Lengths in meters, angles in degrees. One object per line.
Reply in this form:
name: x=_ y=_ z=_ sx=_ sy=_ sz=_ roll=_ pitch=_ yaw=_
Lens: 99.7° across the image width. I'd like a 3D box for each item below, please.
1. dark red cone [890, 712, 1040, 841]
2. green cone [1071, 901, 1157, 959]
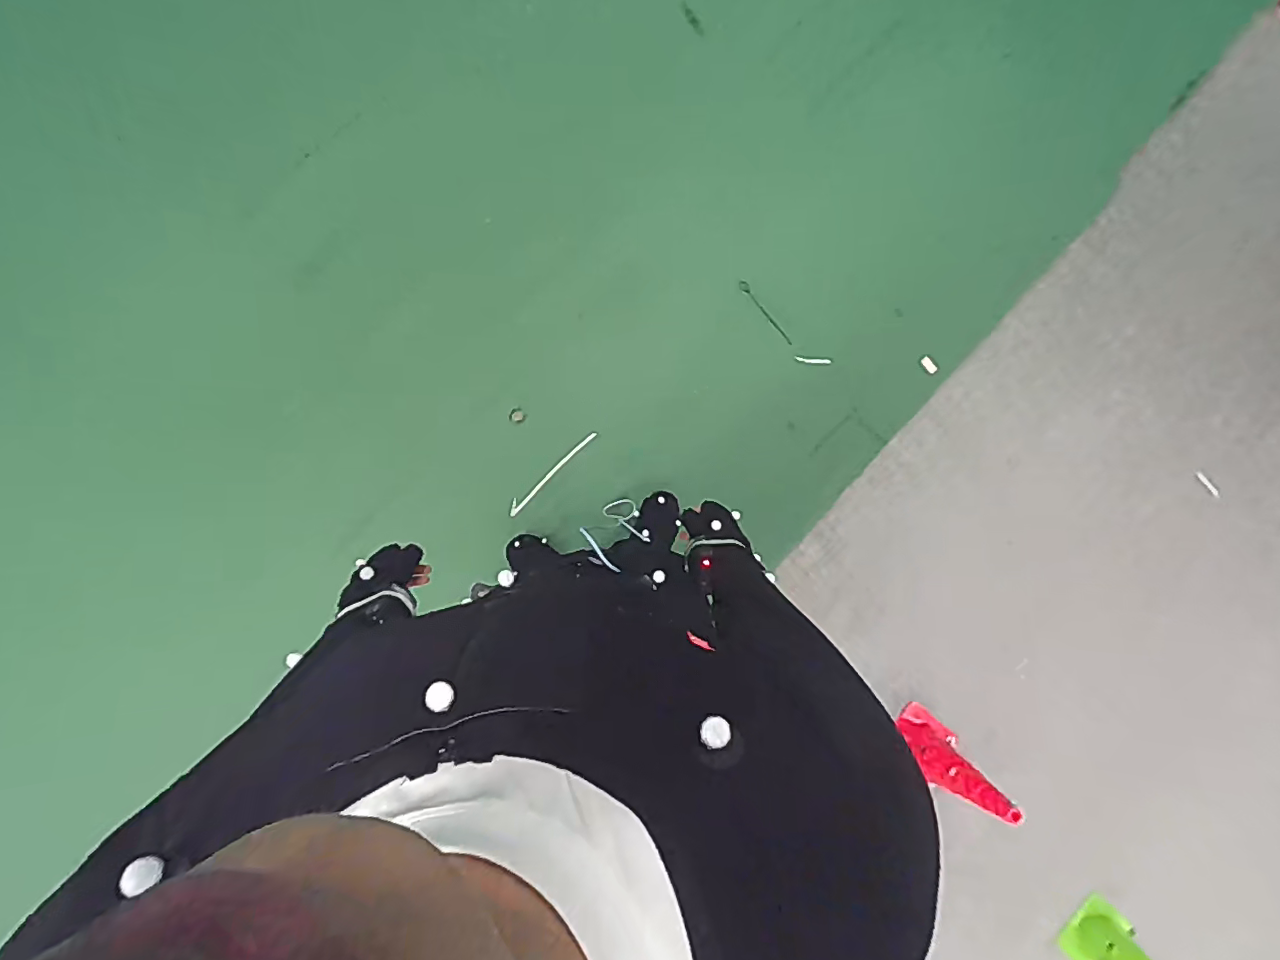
dark red cone: x=0.854 y=0.788 z=1.390 sx=0.201 sy=0.394 sz=0.202 roll=38 pitch=84 yaw=-3
green cone: x=1.437 y=1.398 z=1.465 sx=0.200 sy=0.368 sz=0.202 roll=42 pitch=85 yaw=-3
